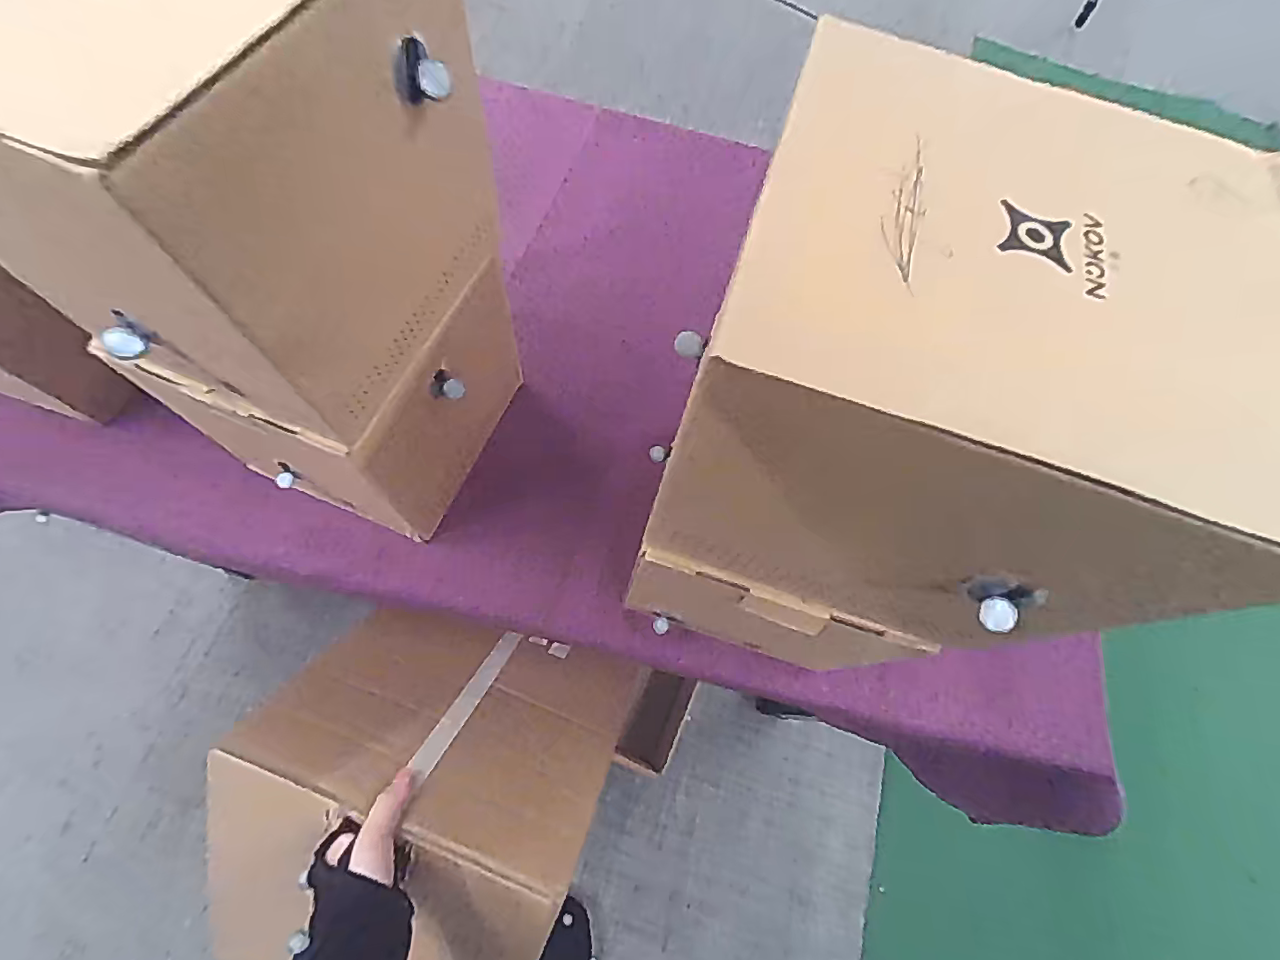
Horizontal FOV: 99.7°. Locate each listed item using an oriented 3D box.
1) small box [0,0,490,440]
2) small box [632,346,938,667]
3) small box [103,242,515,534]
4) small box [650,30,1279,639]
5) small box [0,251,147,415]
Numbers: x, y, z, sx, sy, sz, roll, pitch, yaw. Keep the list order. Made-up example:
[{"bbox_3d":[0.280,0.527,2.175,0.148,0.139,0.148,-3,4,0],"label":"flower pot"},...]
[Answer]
[{"bbox_3d":[-0.187,-0.150,0.256,0.168,0.176,0.179,24,69,5],"label":"small box"},{"bbox_3d":[0.096,0.024,0.390,0.168,0.176,0.179,18,67,2],"label":"small box"},{"bbox_3d":[-0.206,-0.084,0.405,0.168,0.176,0.179,22,69,4],"label":"small box"},{"bbox_3d":[0.116,-0.038,0.240,0.179,0.176,0.168,19,67,3],"label":"small box"},{"bbox_3d":[-0.491,-0.172,0.410,0.179,0.176,0.168,18,69,2],"label":"small box"}]
